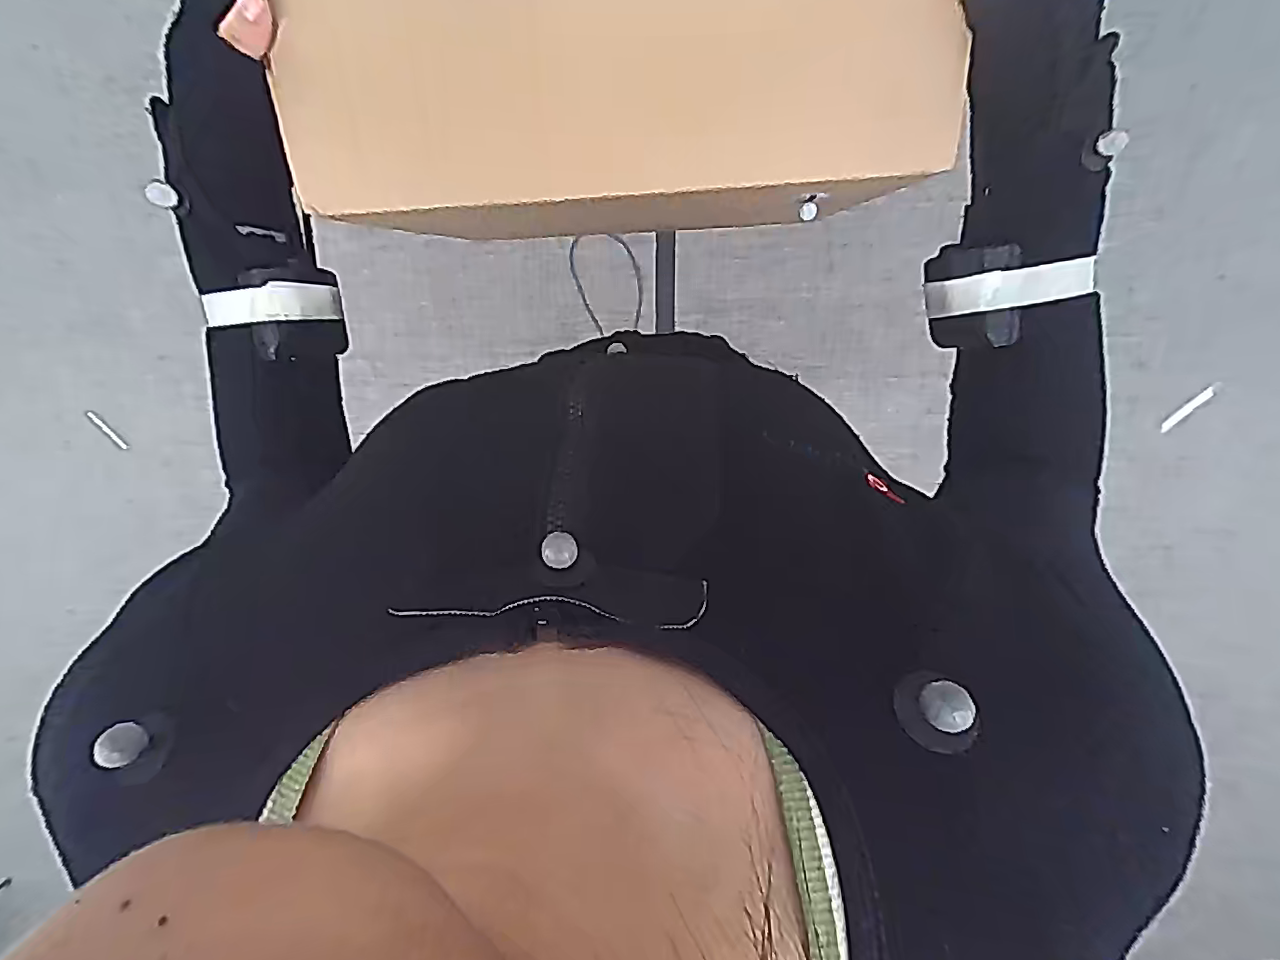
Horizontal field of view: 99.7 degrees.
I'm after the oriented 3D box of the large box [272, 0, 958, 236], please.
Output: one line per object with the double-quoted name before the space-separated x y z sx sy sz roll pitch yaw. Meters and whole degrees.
"large box" -0.012 -0.382 0.432 0.408 0.320 0.320 -2 111 4
